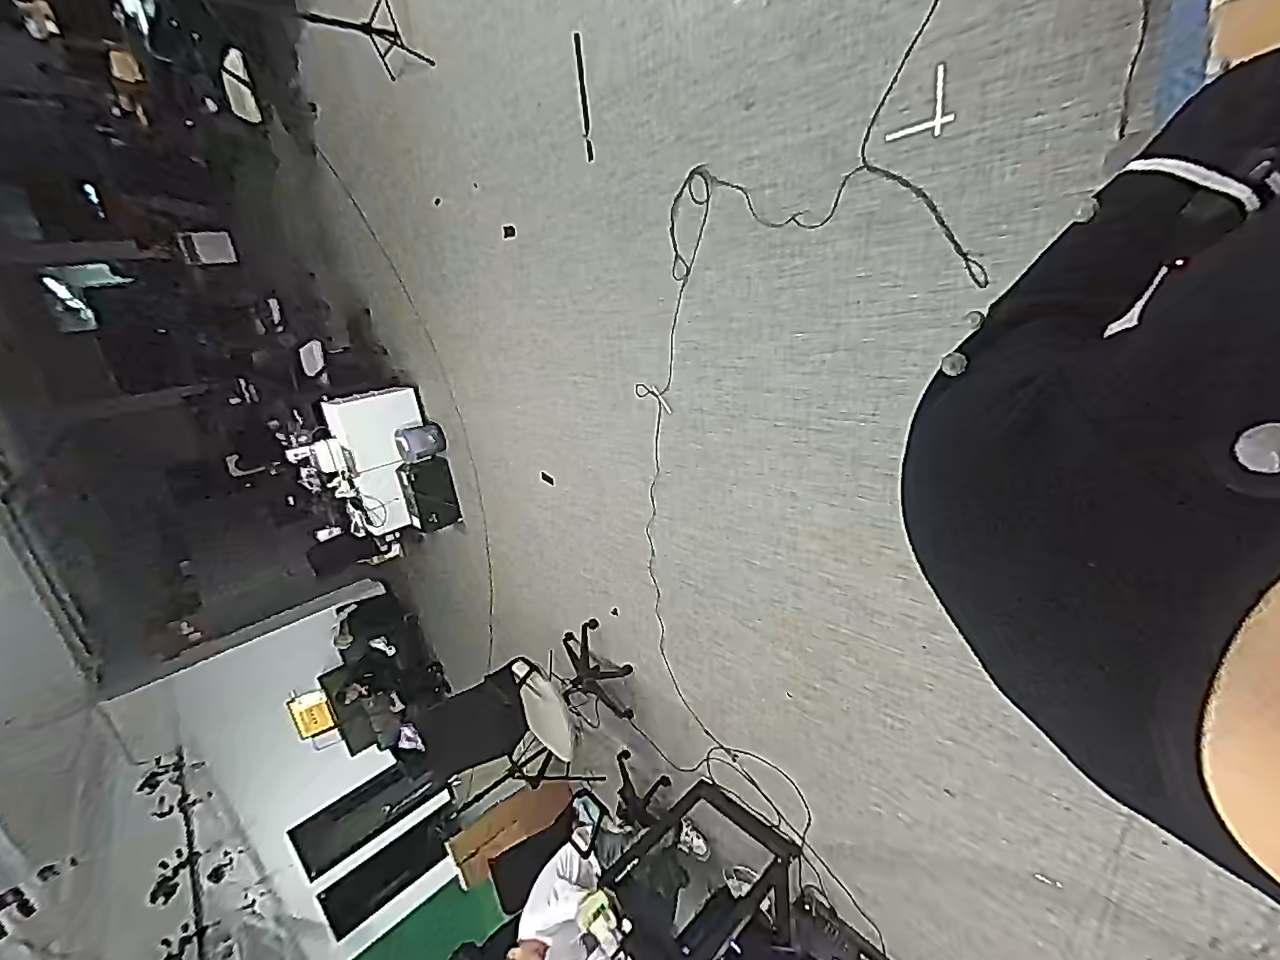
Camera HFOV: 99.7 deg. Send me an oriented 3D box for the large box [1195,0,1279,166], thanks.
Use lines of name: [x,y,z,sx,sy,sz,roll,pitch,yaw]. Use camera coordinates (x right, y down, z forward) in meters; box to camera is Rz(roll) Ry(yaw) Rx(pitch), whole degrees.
large box: [0.893,-0.566,0.567,0.408,0.320,0.320,10,116,46]
